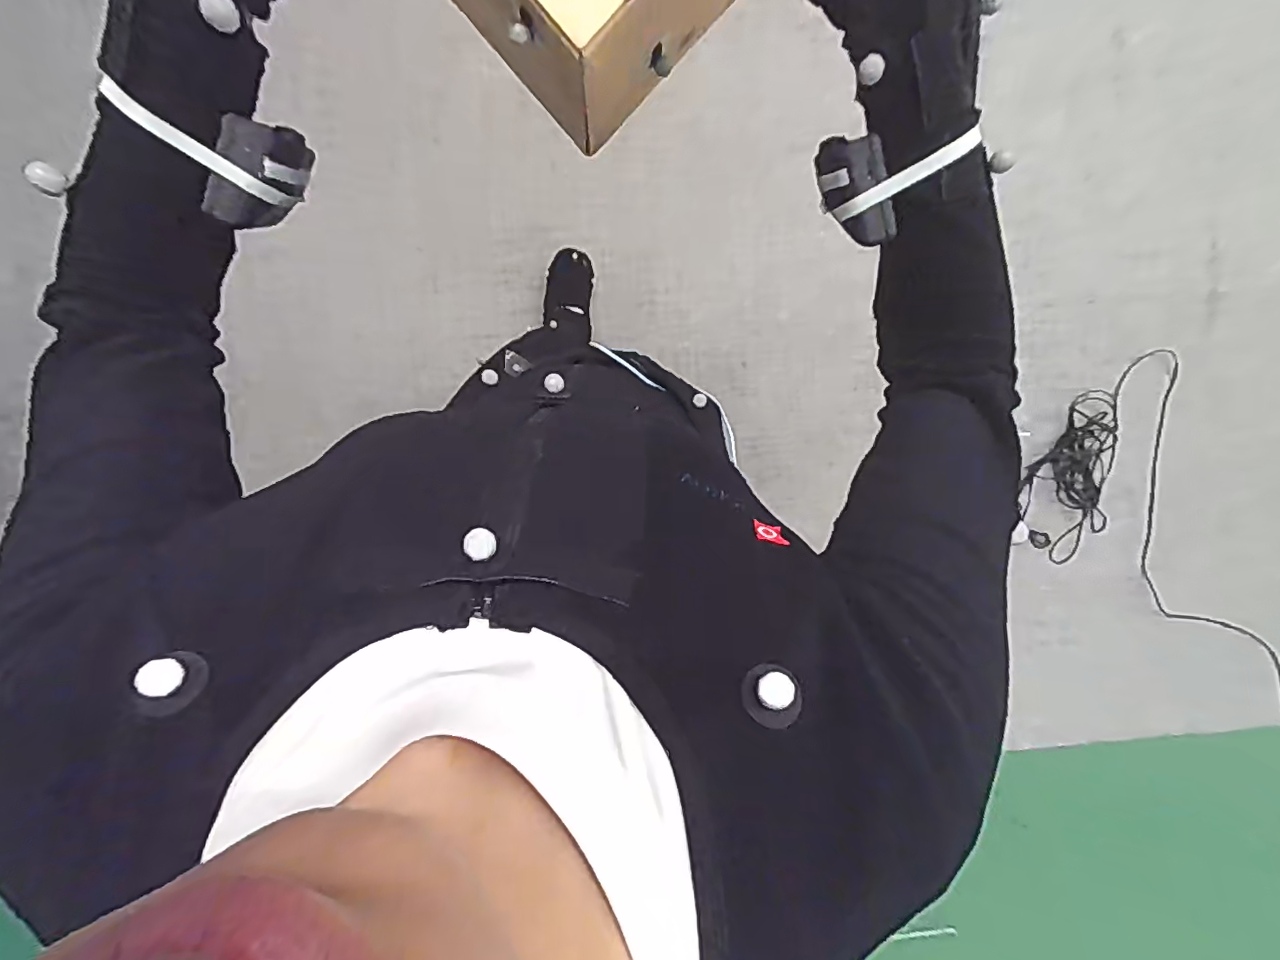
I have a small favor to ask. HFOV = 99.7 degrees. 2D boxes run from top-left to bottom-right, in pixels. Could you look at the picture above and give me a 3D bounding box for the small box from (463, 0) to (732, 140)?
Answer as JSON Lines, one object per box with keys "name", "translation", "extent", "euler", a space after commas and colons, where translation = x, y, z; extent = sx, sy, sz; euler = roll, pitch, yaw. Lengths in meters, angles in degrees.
{"name": "small box", "translation": [-0.034, -0.360, 0.335], "extent": [0.168, 0.176, 0.179], "euler": [-43, 105, 8]}
